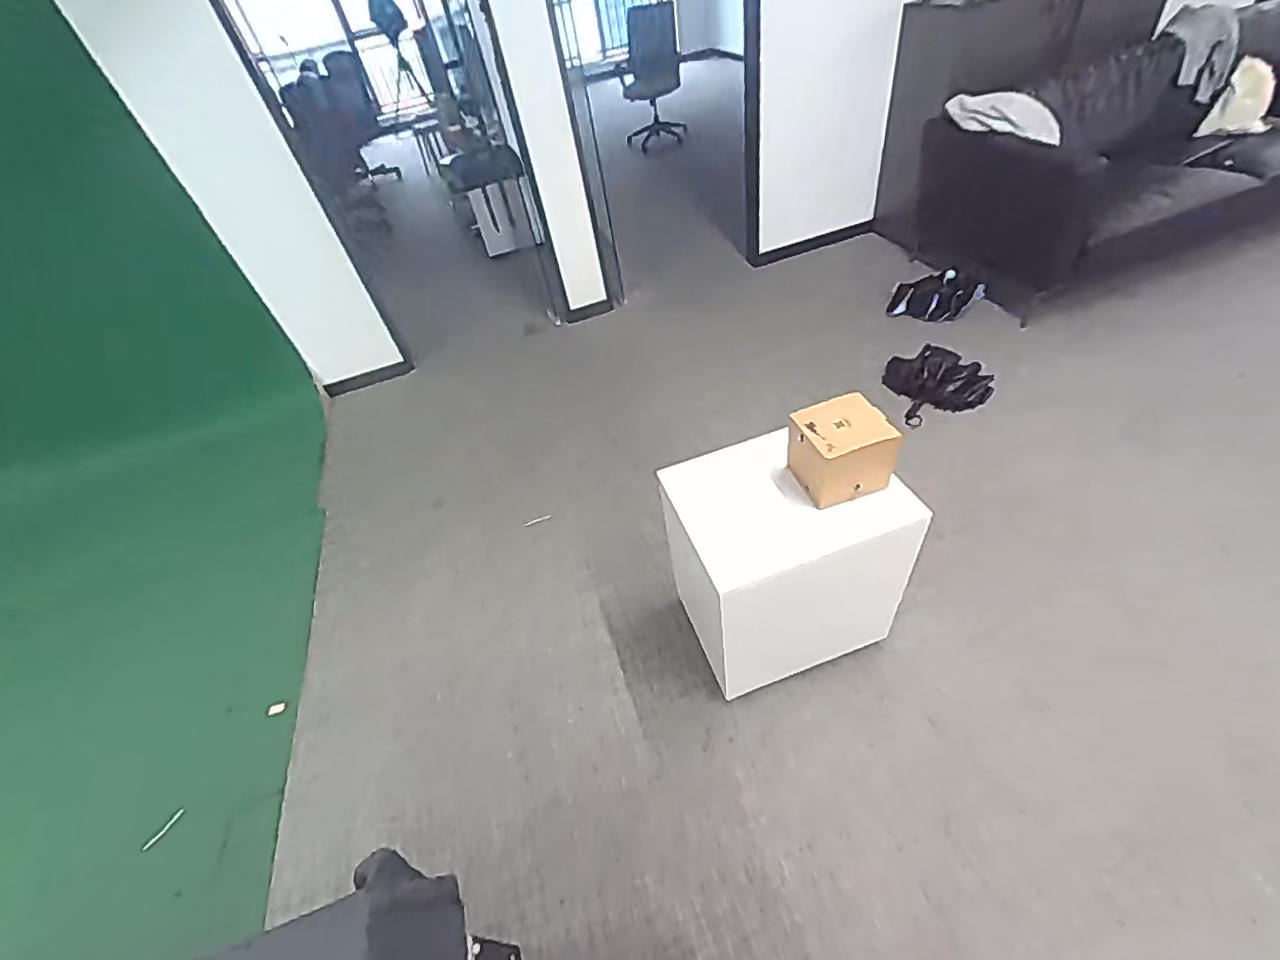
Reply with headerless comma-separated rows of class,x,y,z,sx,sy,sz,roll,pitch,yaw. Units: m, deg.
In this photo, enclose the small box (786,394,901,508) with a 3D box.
small box,0.450,-0.064,1.227,0.179,0.176,0.168,-17,46,-7
